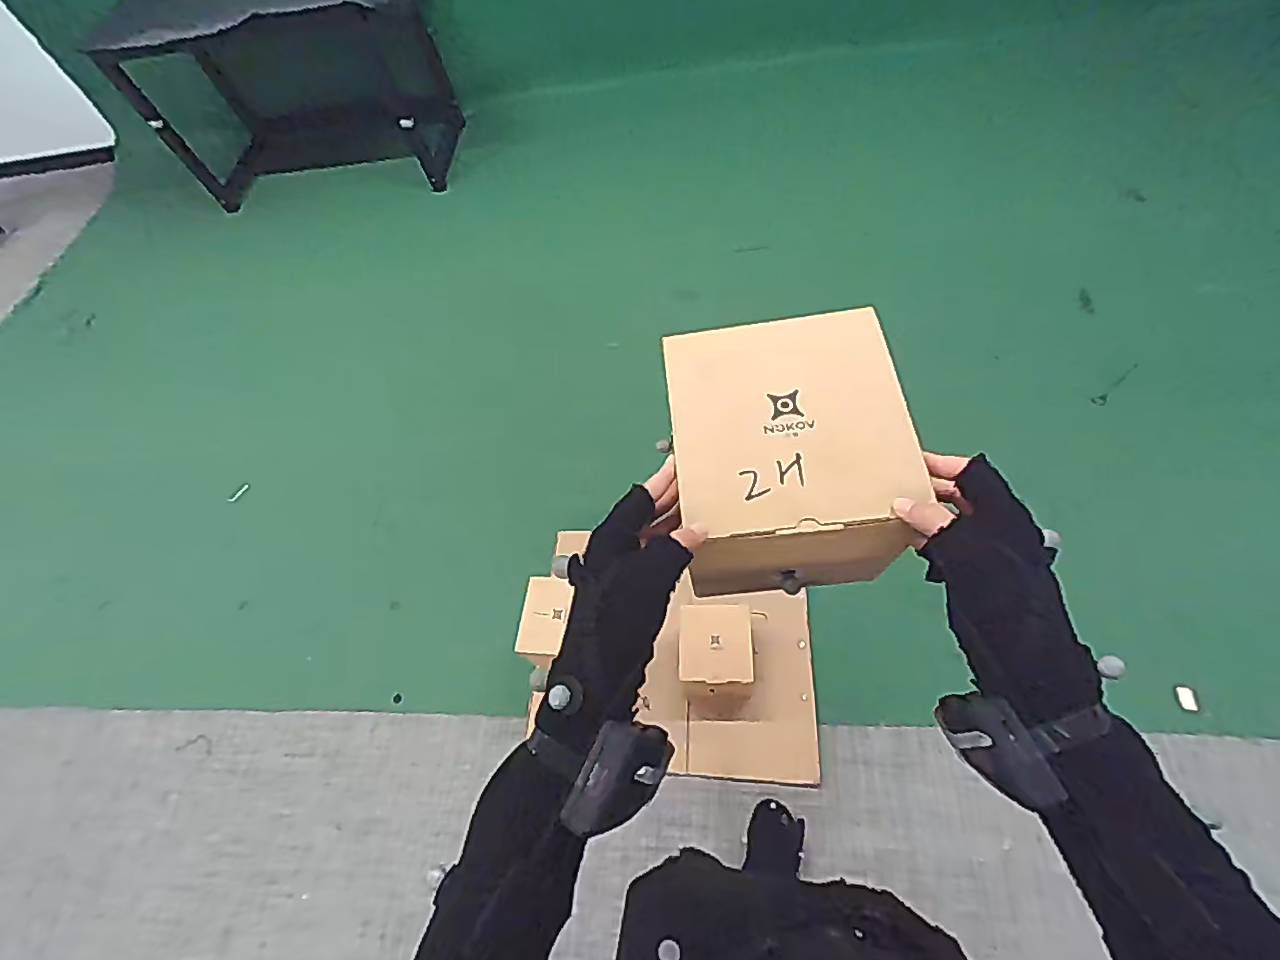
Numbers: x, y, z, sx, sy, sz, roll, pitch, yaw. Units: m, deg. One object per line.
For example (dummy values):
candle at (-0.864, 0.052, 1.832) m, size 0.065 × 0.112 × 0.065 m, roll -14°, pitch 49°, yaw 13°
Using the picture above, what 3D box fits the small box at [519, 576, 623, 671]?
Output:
small box at (-0.142, 0.321, 1.199) m, size 0.179 × 0.176 × 0.168 m, roll 0°, pitch 61°, yaw 13°

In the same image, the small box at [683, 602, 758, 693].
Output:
small box at (0.191, 0.402, 1.289) m, size 0.168 × 0.176 × 0.179 m, roll -2°, pitch 61°, yaw 9°
